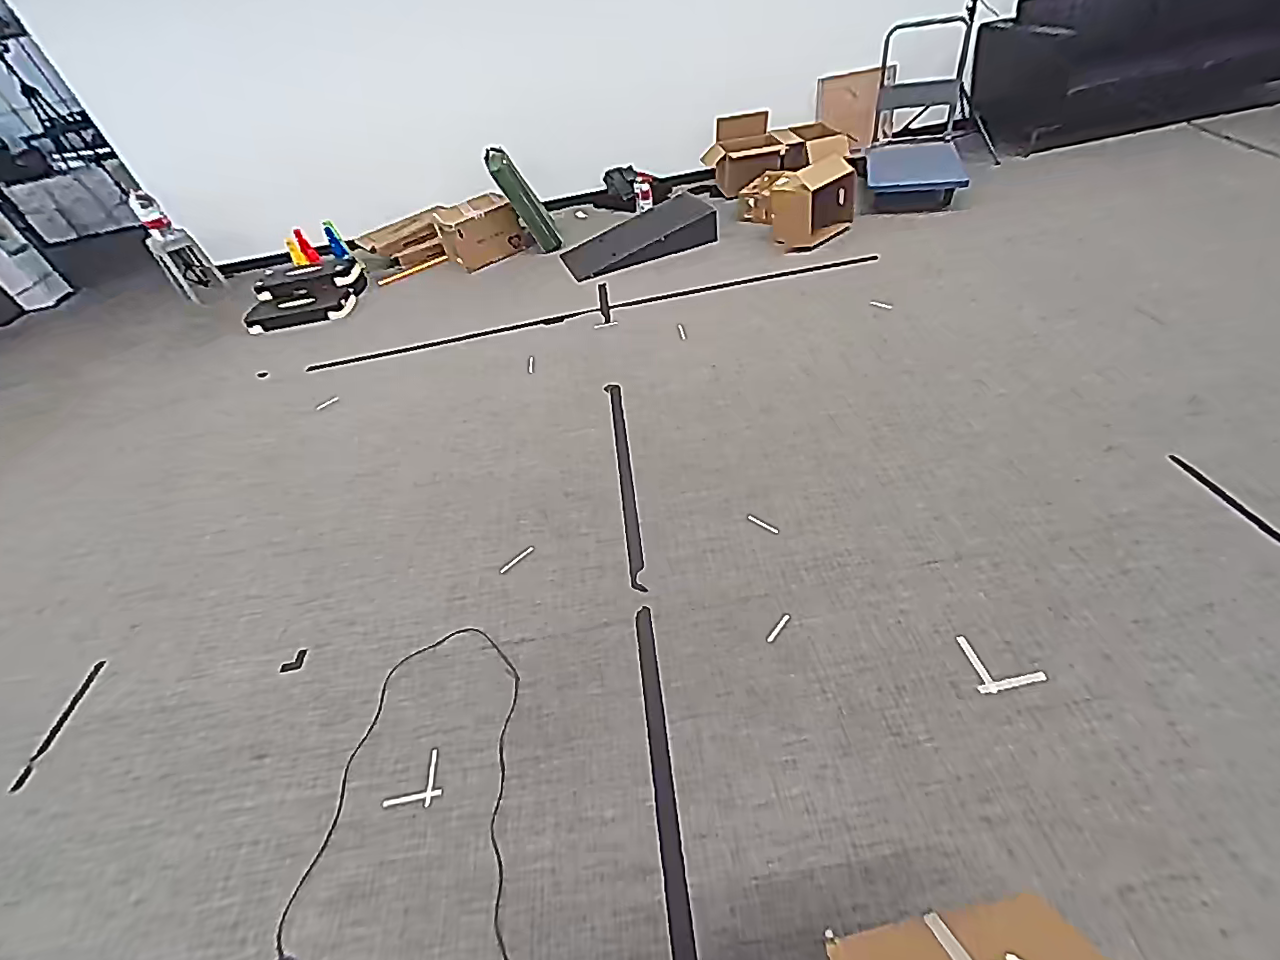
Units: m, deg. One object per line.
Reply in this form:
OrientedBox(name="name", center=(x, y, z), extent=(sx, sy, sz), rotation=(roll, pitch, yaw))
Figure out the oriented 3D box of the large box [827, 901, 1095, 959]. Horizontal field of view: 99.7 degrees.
OrientedBox(name="large box", center=(0.447, 0.758, 0.564), extent=(0.320, 0.408, 0.320), rotation=(-13, 81, 0))
